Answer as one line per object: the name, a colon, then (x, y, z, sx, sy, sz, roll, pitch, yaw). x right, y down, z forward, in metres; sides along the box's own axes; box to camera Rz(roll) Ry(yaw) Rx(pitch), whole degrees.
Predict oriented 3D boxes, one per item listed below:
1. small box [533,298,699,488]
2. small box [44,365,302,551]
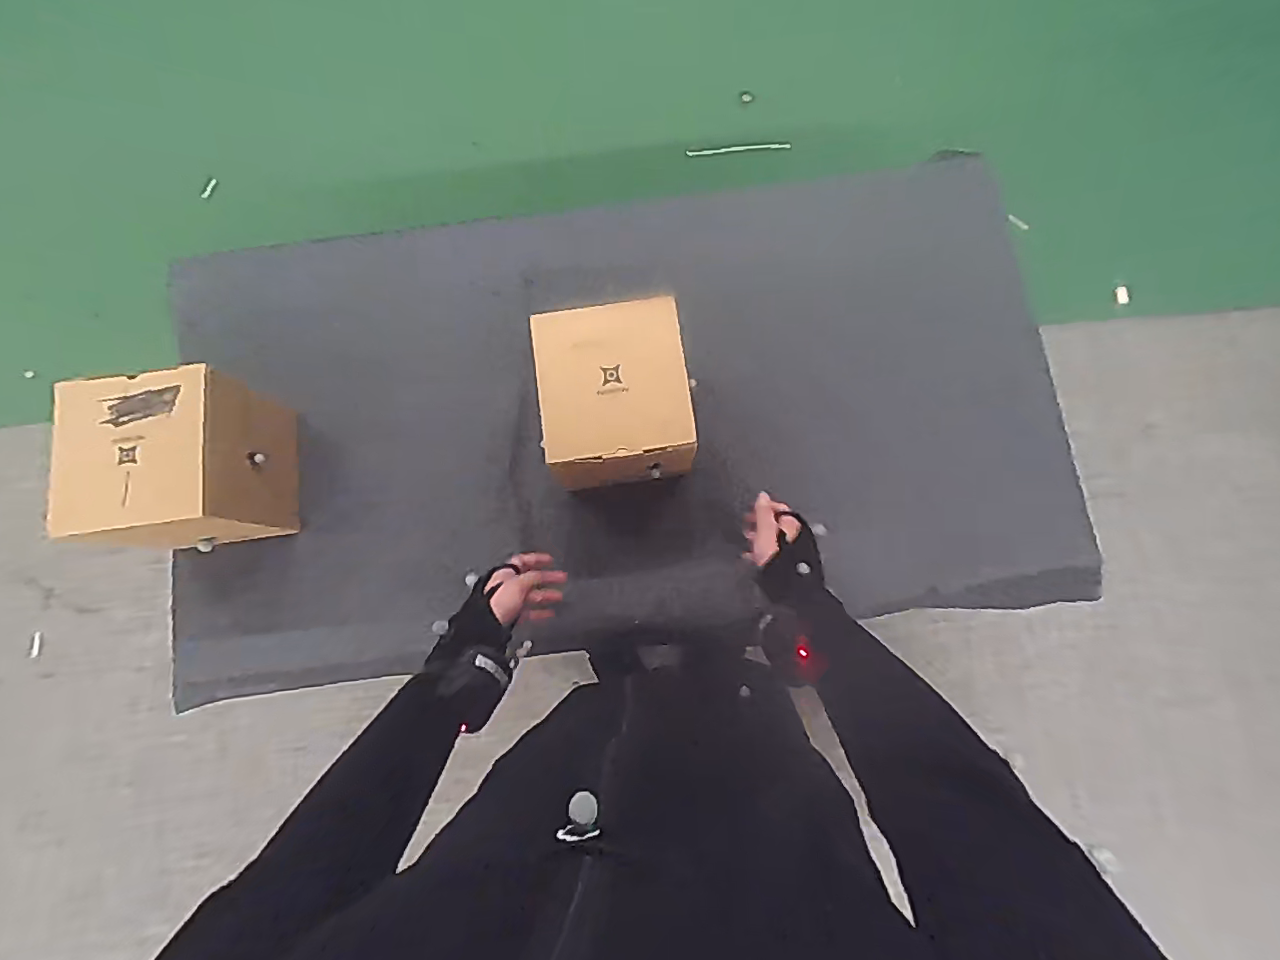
small box: (-0.027, -0.092, 0.661, 0.168, 0.176, 0.179, -8, 77, -2)
small box: (-0.539, -0.016, 0.652, 0.168, 0.176, 0.179, -8, 78, -1)
